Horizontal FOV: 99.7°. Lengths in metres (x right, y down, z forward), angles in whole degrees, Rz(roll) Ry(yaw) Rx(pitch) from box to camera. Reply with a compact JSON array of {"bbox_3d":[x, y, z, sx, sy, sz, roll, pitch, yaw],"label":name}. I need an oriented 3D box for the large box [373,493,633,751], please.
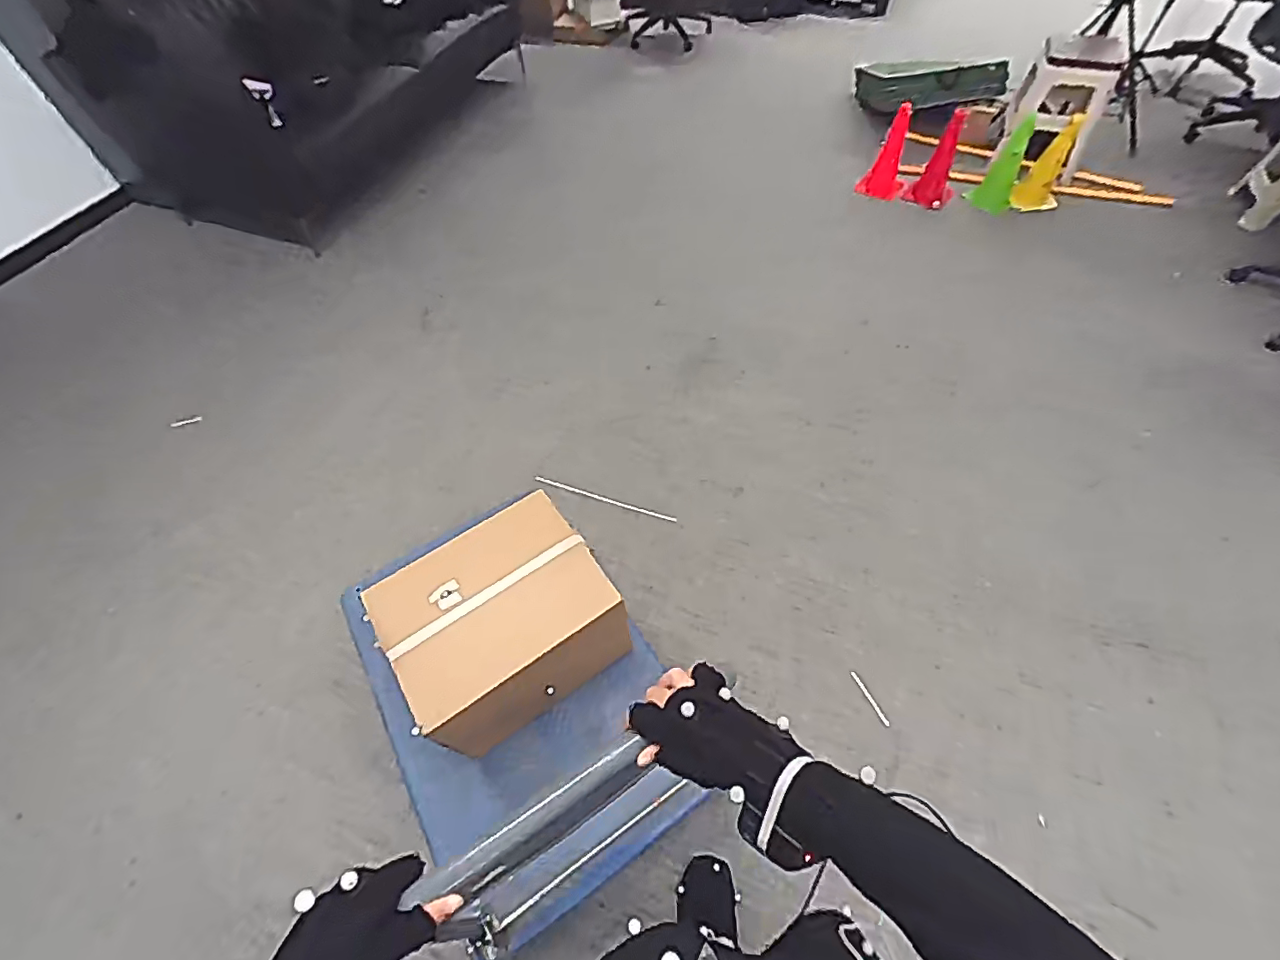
[{"bbox_3d":[-0.267,0.308,1.164,0.408,0.320,0.320,-32,60,-16],"label":"large box"}]
